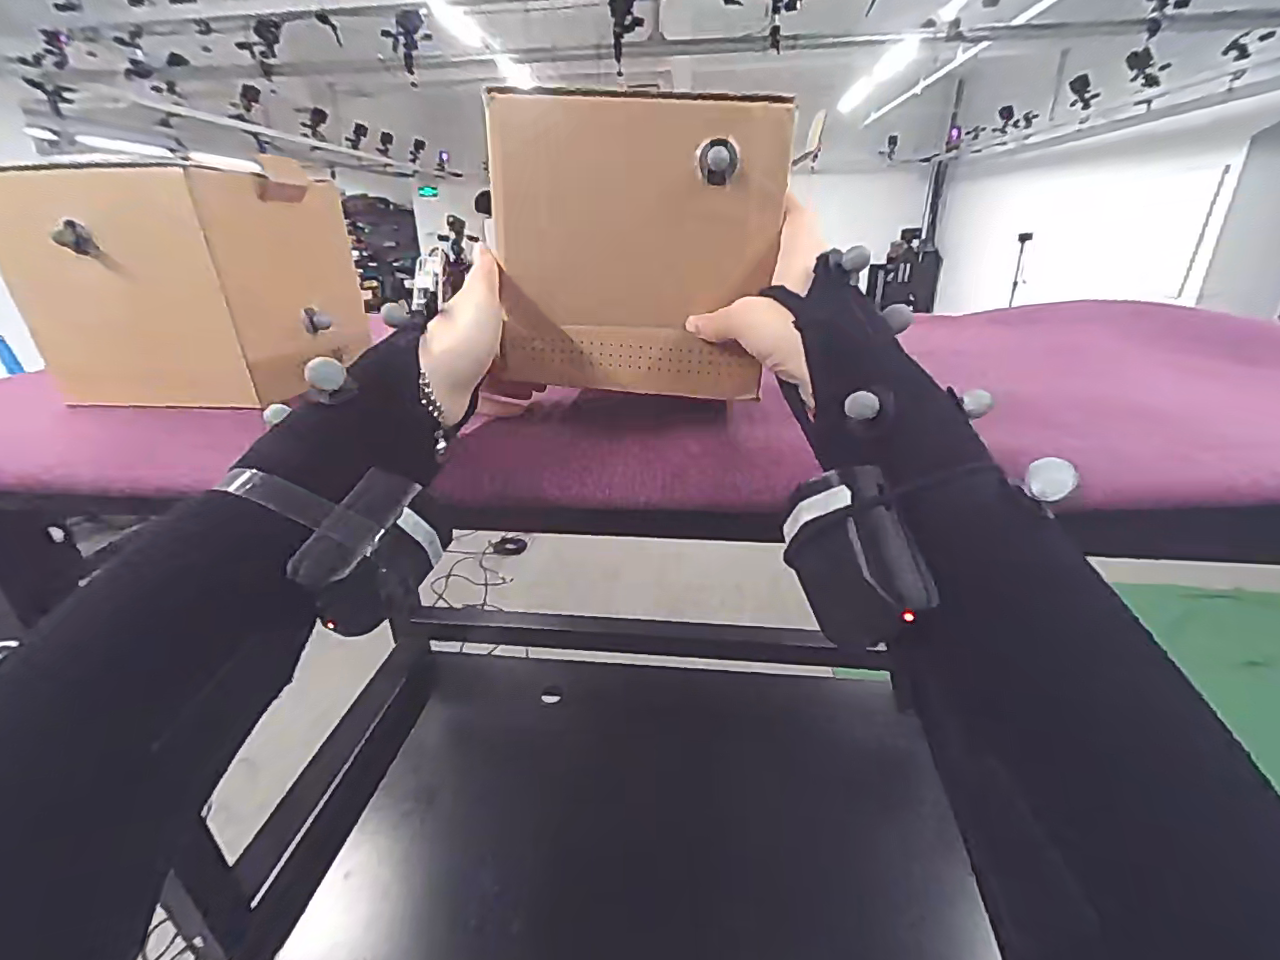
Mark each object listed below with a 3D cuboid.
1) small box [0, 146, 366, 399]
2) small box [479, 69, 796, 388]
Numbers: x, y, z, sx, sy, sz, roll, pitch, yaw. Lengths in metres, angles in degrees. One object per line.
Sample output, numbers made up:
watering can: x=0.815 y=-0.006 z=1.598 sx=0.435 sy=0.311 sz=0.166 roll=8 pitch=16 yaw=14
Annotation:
small box: x=-0.370 y=-0.170 z=0.456 sx=0.179 sy=0.176 sz=0.168 roll=2 pitch=26 yaw=5
small box: x=0.003 y=-0.165 z=0.388 sx=0.179 sy=0.176 sz=0.168 roll=6 pitch=22 yaw=6
